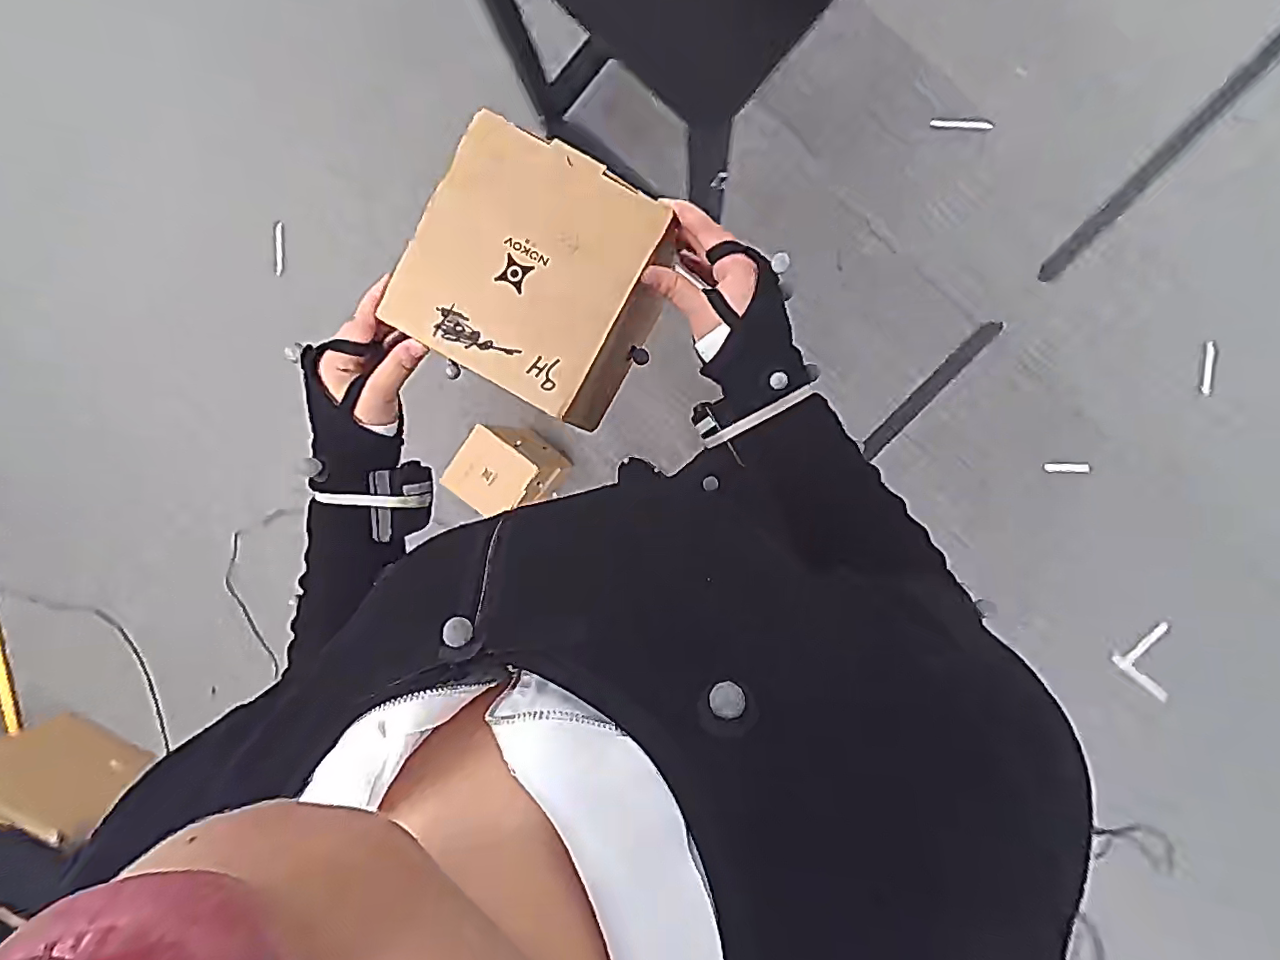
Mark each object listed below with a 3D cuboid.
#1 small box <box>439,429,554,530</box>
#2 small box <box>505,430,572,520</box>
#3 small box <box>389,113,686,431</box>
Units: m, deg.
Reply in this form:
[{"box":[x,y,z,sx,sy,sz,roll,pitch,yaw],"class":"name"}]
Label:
[{"box":[-0.331,-0.007,1.287,0.179,0.176,0.168,36,96,4],"class":"small box"},{"box":[-0.309,-0.015,1.448,0.179,0.176,0.168,39,97,1],"class":"small box"},{"box":[-0.075,-0.160,0.481,0.168,0.176,0.179,30,92,3],"class":"small box"}]
